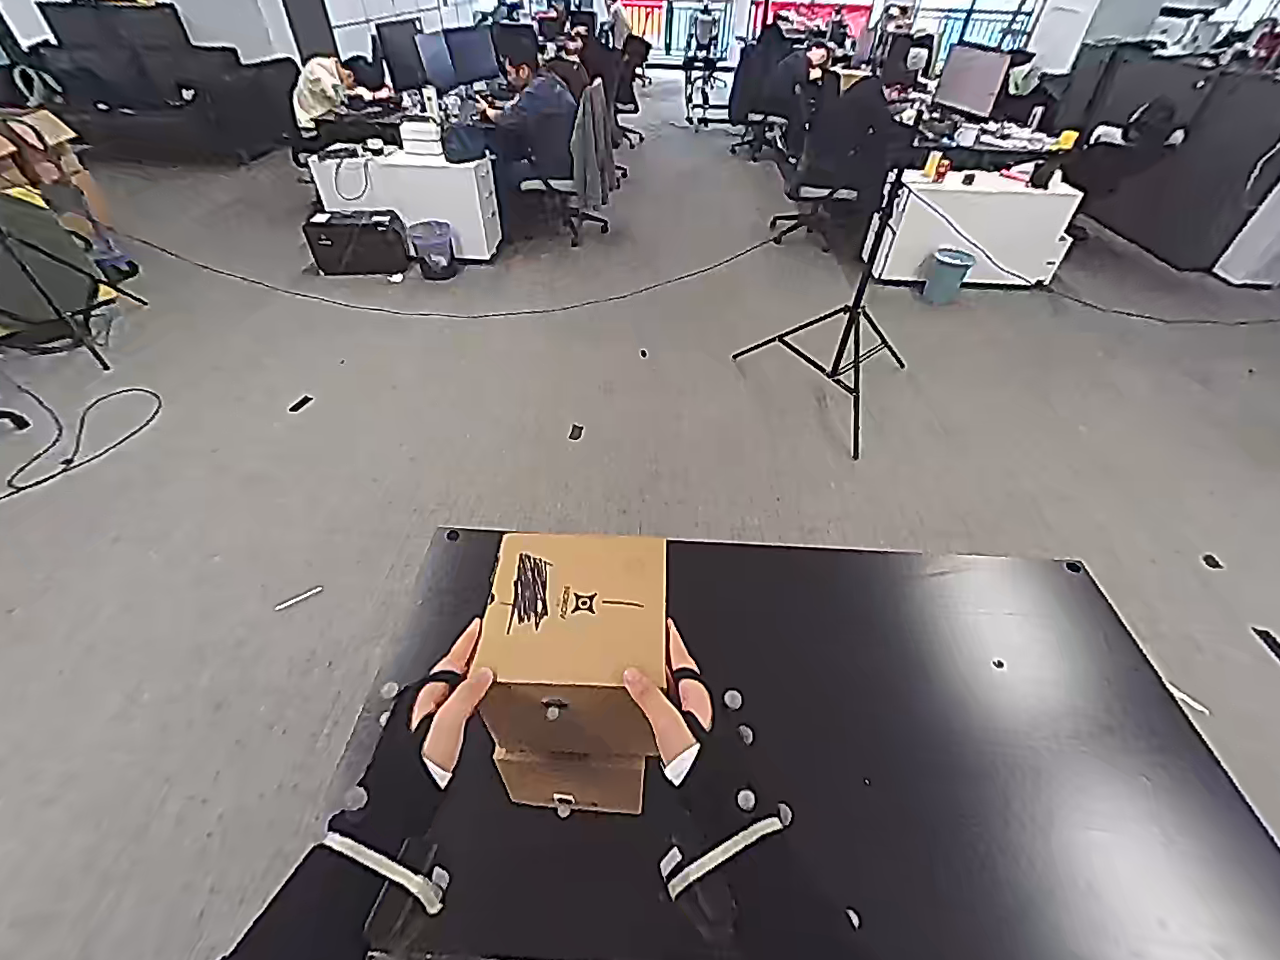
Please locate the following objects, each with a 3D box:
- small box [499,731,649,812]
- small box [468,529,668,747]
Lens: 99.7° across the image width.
[{"bbox_3d":[-0.070,0.302,0.698,0.168,0.176,0.179,2,44,2],"label":"small box"},{"bbox_3d":[-0.060,0.170,0.577,0.179,0.176,0.168,2,46,1],"label":"small box"}]
